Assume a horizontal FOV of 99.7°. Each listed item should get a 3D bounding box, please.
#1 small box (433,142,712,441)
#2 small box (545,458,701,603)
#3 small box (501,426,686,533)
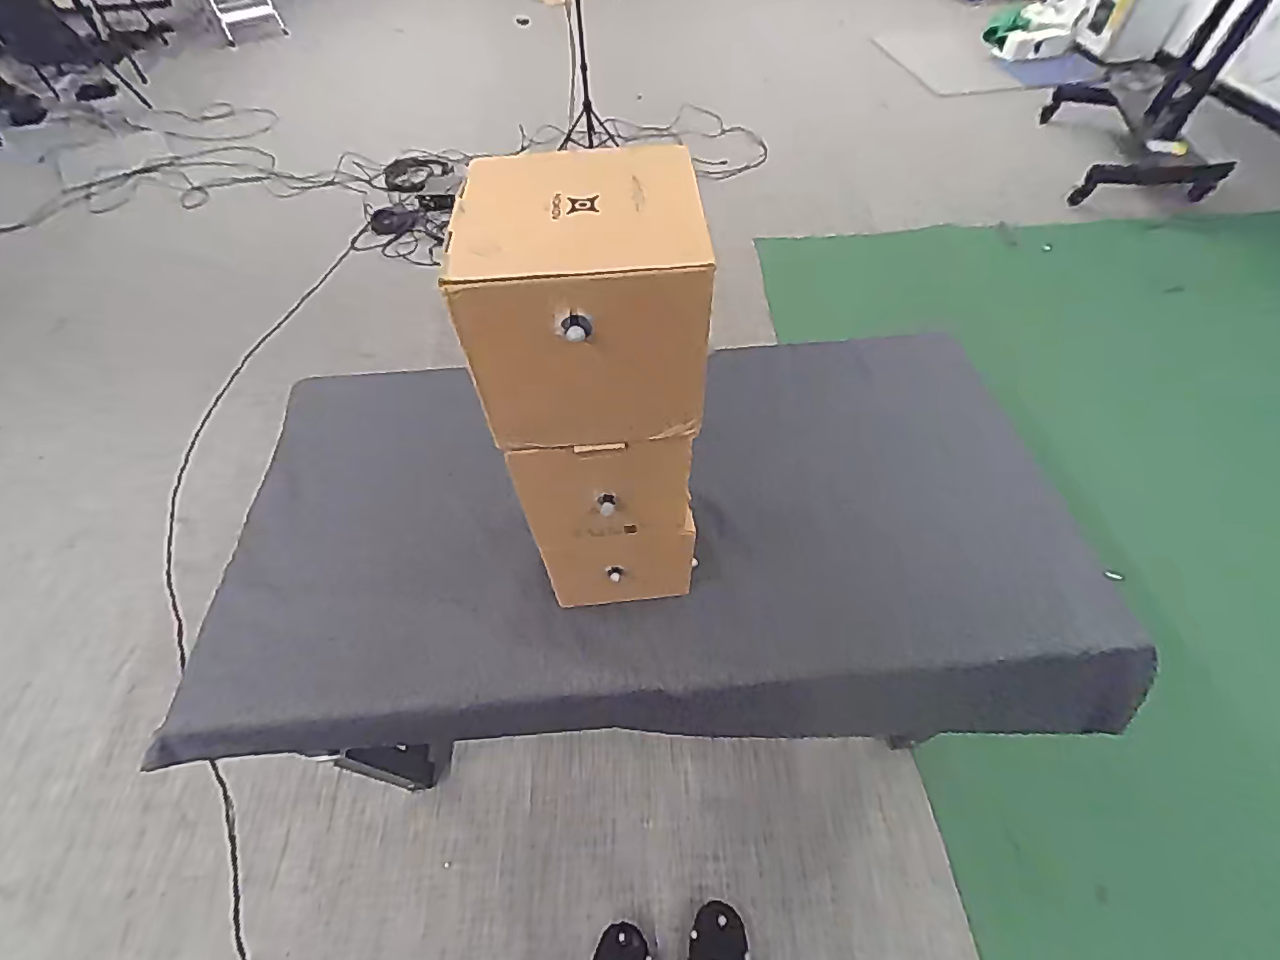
[{"bbox_3d":[-0.043,-0.145,0.440,0.179,0.176,0.168,-3,55,-1],"label":"small box"},{"bbox_3d":[-0.029,0.045,0.705,0.179,0.176,0.168,-7,55,-5],"label":"small box"},{"bbox_3d":[-0.043,-0.054,0.575,0.168,0.176,0.179,-5,55,-2],"label":"small box"}]
